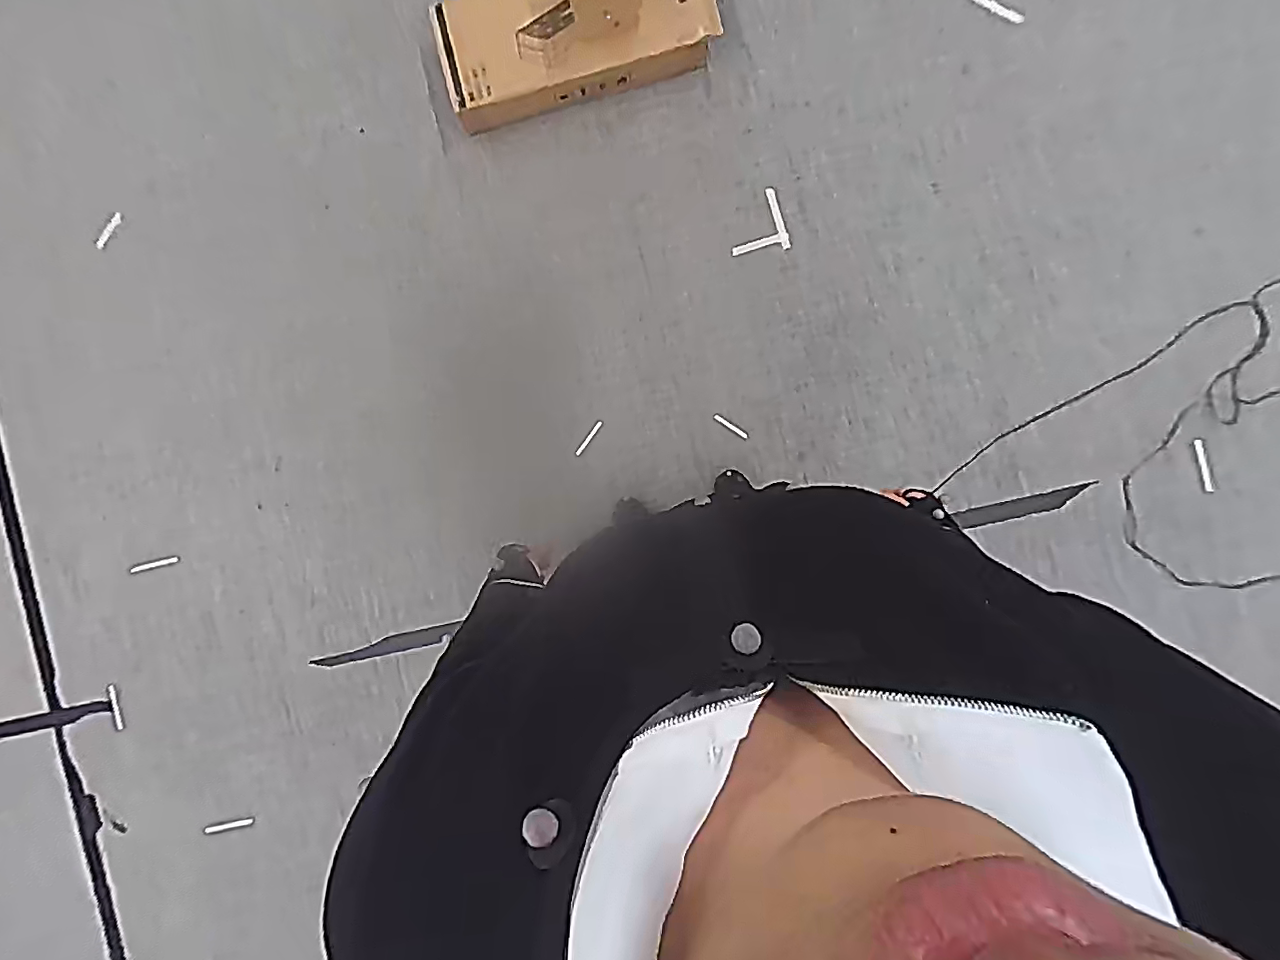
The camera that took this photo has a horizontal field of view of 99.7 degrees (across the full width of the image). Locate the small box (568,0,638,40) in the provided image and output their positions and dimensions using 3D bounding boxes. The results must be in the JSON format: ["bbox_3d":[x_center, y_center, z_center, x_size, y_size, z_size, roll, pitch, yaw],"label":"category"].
[{"bbox_3d":[-0.108,-1.253,1.335,0.168,0.176,0.179,-15,88,4],"label":"small box"}]
